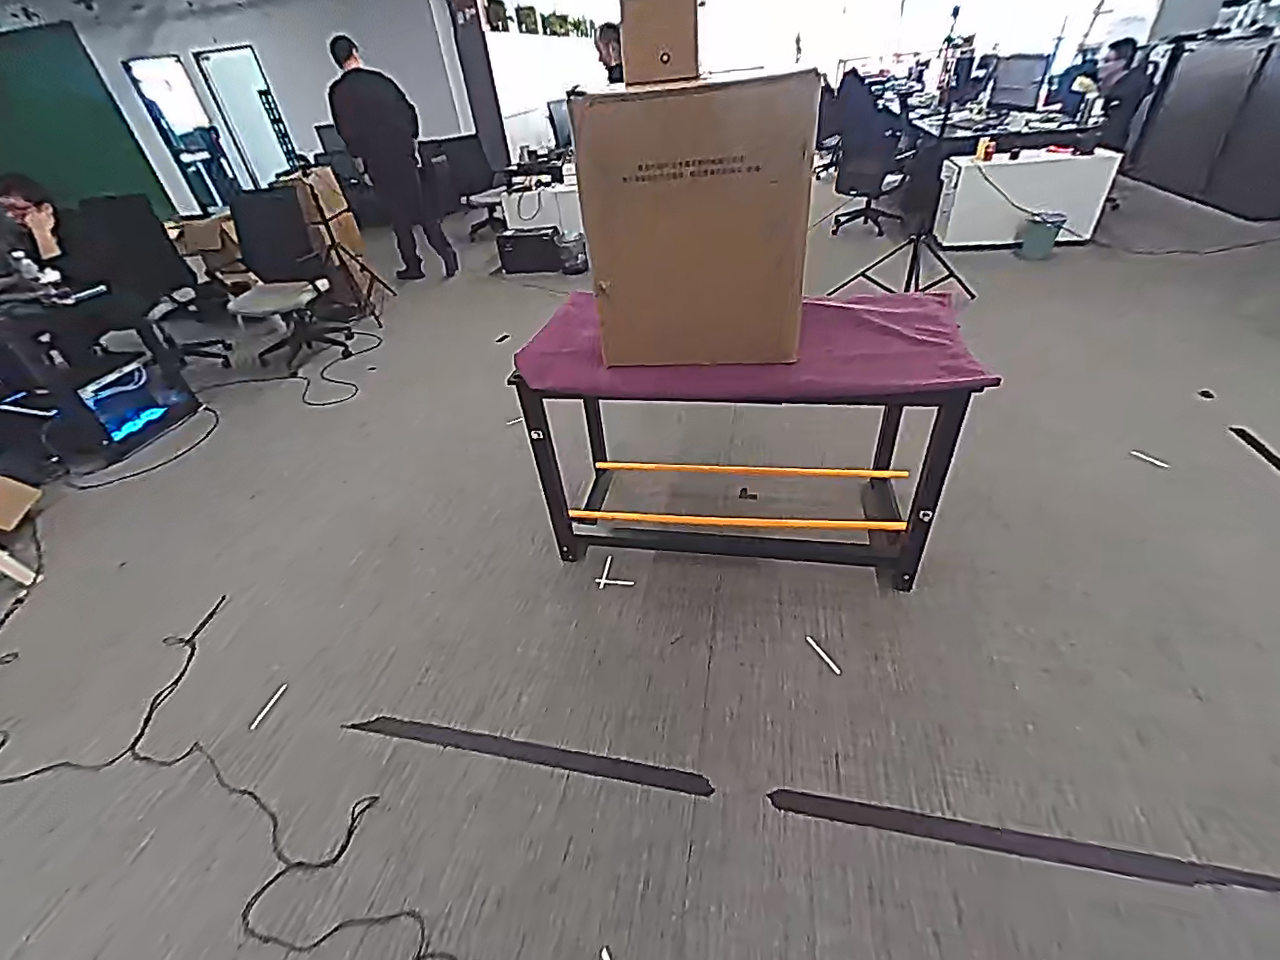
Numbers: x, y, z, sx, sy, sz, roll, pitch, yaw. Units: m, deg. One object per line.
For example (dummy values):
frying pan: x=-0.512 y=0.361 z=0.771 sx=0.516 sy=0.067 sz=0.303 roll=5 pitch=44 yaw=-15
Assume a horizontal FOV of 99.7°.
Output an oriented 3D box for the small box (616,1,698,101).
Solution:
small box: x=0.048 y=-1.023 z=1.291 sx=0.179 sy=0.176 sz=0.168 roll=1 pitch=38 yaw=8
